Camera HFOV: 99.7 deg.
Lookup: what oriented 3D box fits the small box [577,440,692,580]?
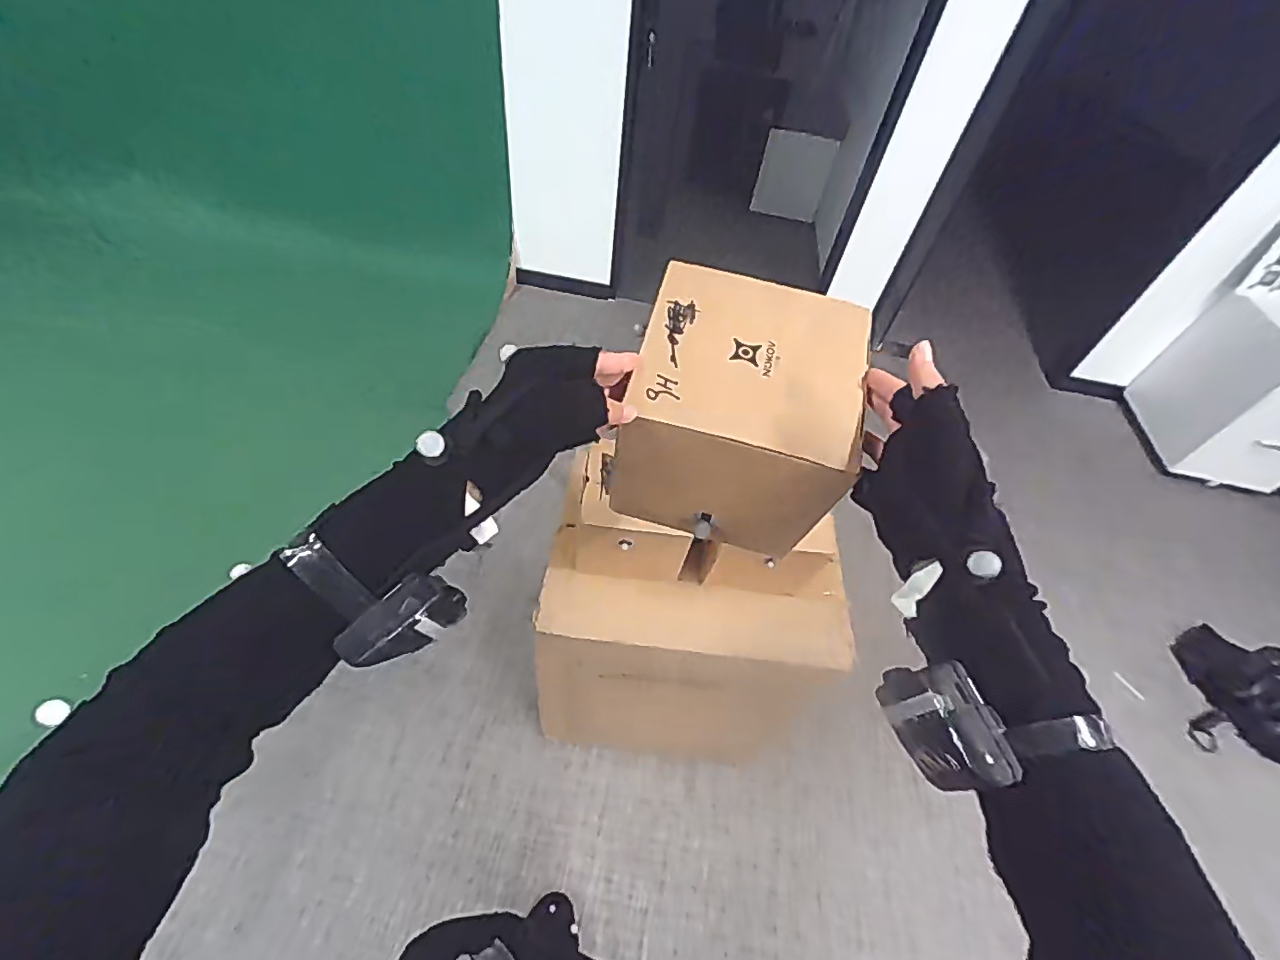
[{"bbox_3d":[-0.010,0.056,0.913,0.179,0.176,0.168,7,55,-4],"label":"small box"}]

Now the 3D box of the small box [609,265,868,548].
[{"bbox_3d":[0.080,-0.054,0.491,0.179,0.176,0.168,16,60,1],"label":"small box"}]

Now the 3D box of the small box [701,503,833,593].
[{"bbox_3d":[0.203,0.082,0.925,0.179,0.176,0.168,7,56,-5],"label":"small box"}]
